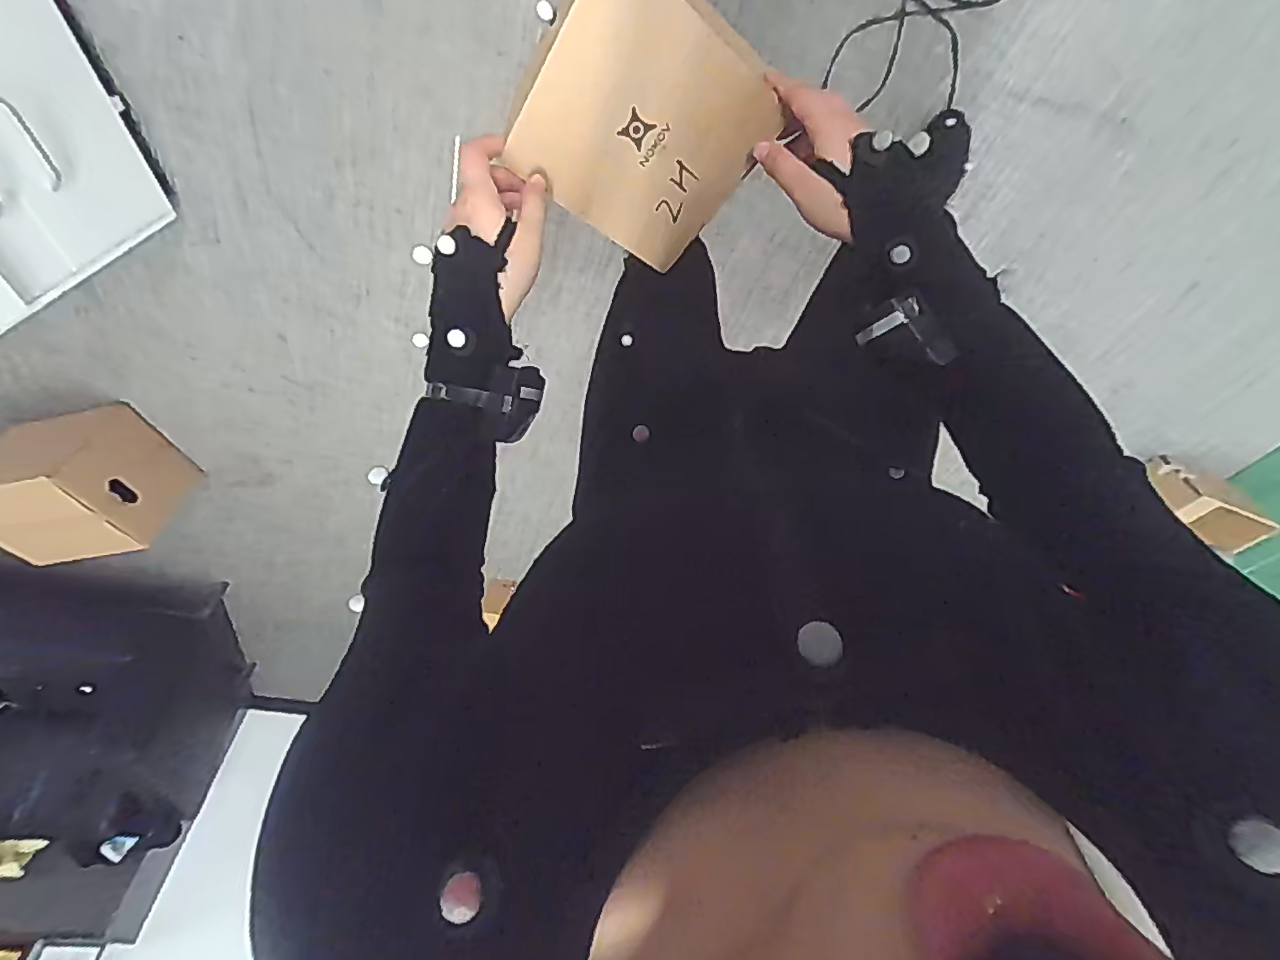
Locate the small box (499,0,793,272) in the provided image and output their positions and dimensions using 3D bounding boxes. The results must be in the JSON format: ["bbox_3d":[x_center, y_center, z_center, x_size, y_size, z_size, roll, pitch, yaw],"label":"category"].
[{"bbox_3d":[-0.001,-0.330,0.474,0.179,0.176,0.168,23,135,-29],"label":"small box"}]

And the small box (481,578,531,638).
[{"bbox_3d":[-0.559,0.539,2.273,0.168,0.176,0.179,13,134,-15],"label":"small box"}]
